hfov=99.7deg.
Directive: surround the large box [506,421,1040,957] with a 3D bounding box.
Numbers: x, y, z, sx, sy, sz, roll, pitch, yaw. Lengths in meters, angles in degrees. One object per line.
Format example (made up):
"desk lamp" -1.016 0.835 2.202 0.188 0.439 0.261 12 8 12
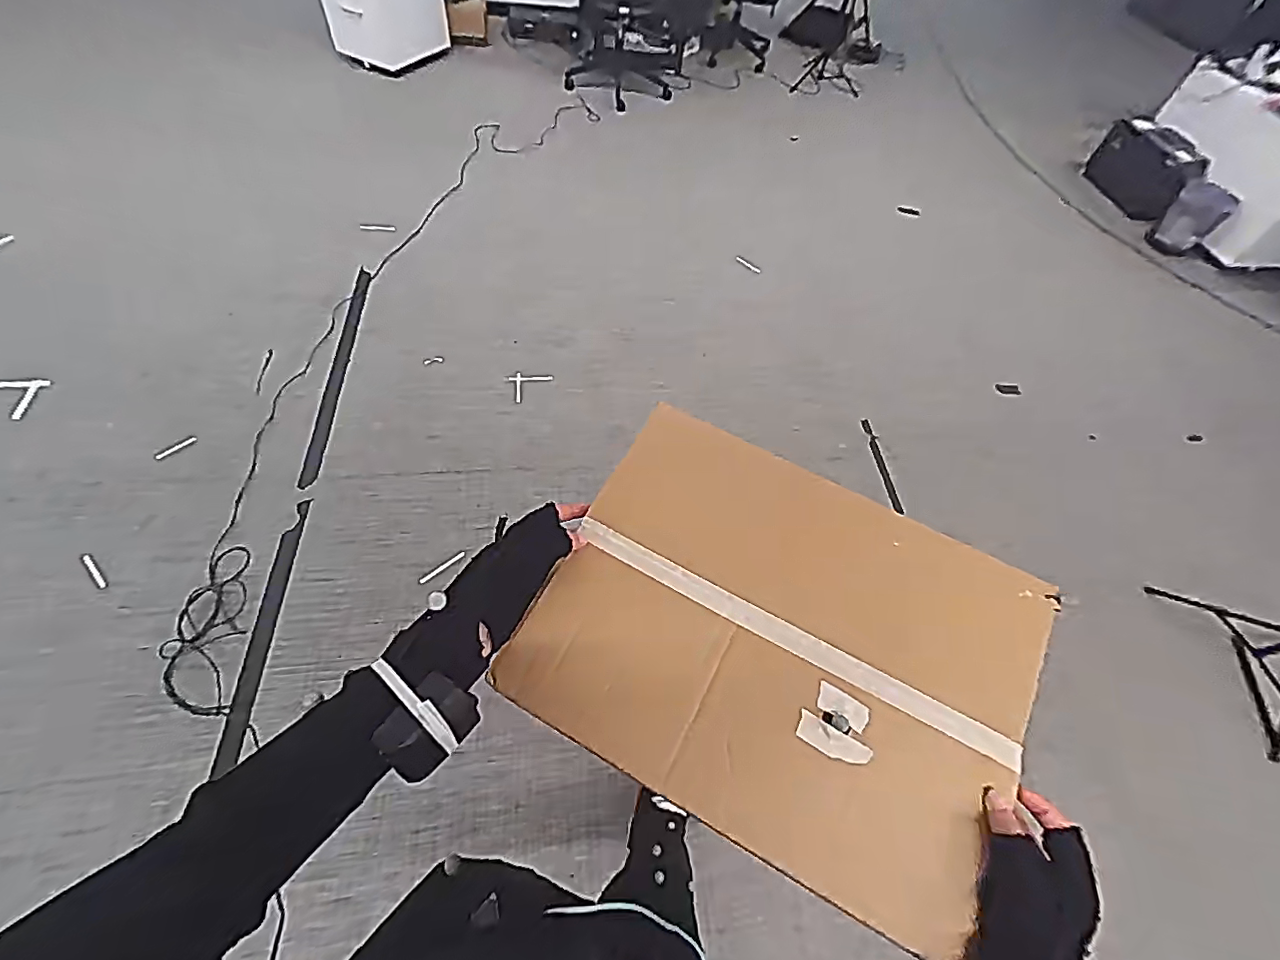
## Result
"large box" 0.123 0.201 0.616 0.408 0.320 0.320 27 69 11
